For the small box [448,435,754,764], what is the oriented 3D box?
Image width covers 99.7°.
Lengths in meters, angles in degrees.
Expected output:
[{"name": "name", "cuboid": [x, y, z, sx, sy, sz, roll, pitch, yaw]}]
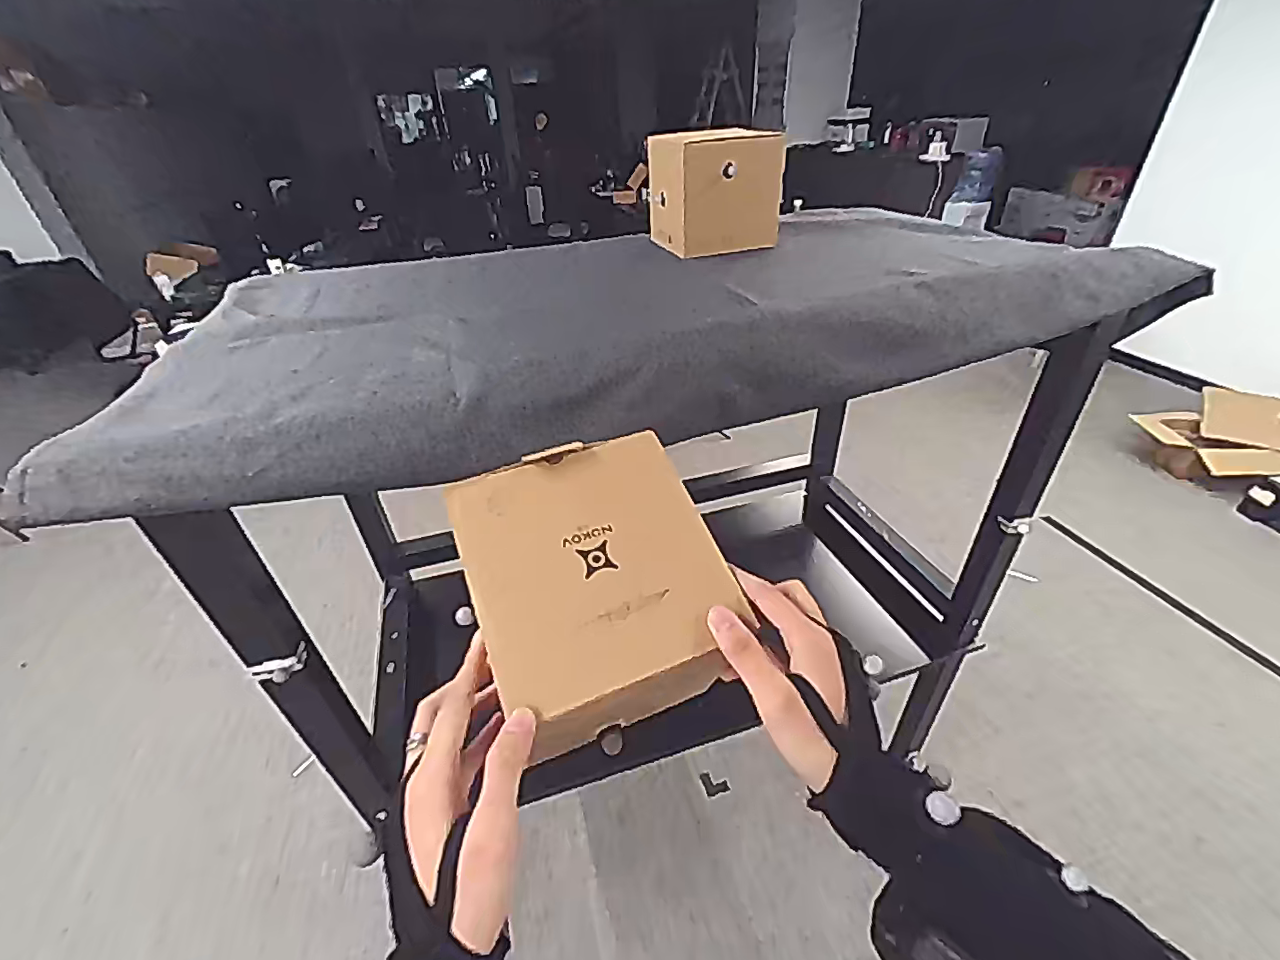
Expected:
[{"name": "small box", "cuboid": [-0.041, 0.097, 0.432, 0.168, 0.176, 0.179, -17, 59, -18]}]

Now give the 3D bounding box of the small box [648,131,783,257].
[{"name": "small box", "cuboid": [0.123, -0.490, 0.926, 0.179, 0.176, 0.168, -13, 37, -13]}]
